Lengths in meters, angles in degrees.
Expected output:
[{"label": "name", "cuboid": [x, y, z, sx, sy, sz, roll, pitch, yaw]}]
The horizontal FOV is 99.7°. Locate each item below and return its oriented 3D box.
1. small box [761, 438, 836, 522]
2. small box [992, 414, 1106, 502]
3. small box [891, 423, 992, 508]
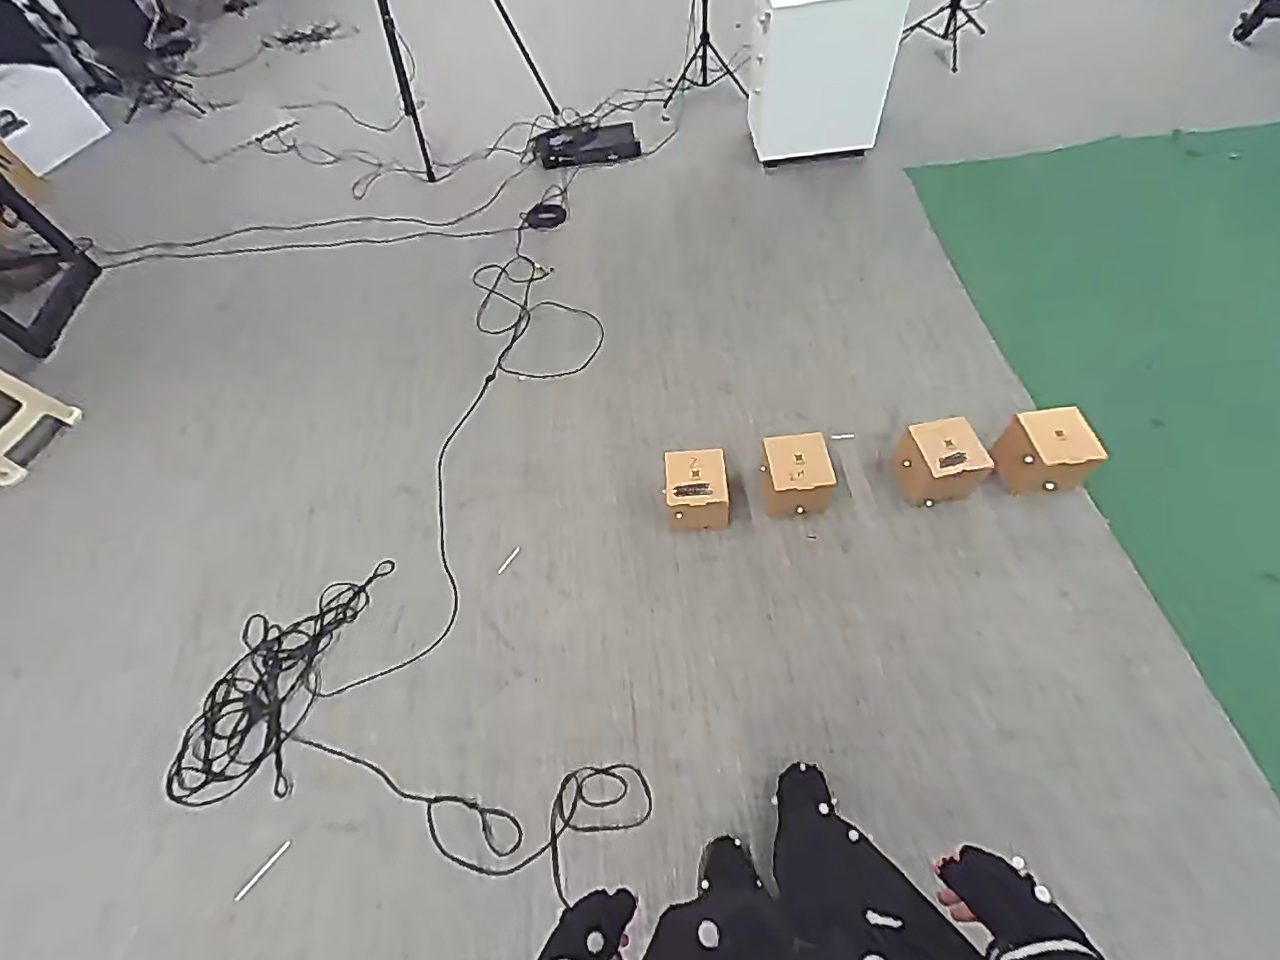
[{"label": "small box", "cuboid": [0.447, 0.002, 1.554, 0.168, 0.176, 0.179, -6, 58, 3]}, {"label": "small box", "cuboid": [1.138, -0.060, 1.525, 0.168, 0.176, 0.179, -7, 58, 2]}, {"label": "small box", "cuboid": [0.847, -0.033, 1.537, 0.168, 0.176, 0.179, -10, 57, -1]}]
